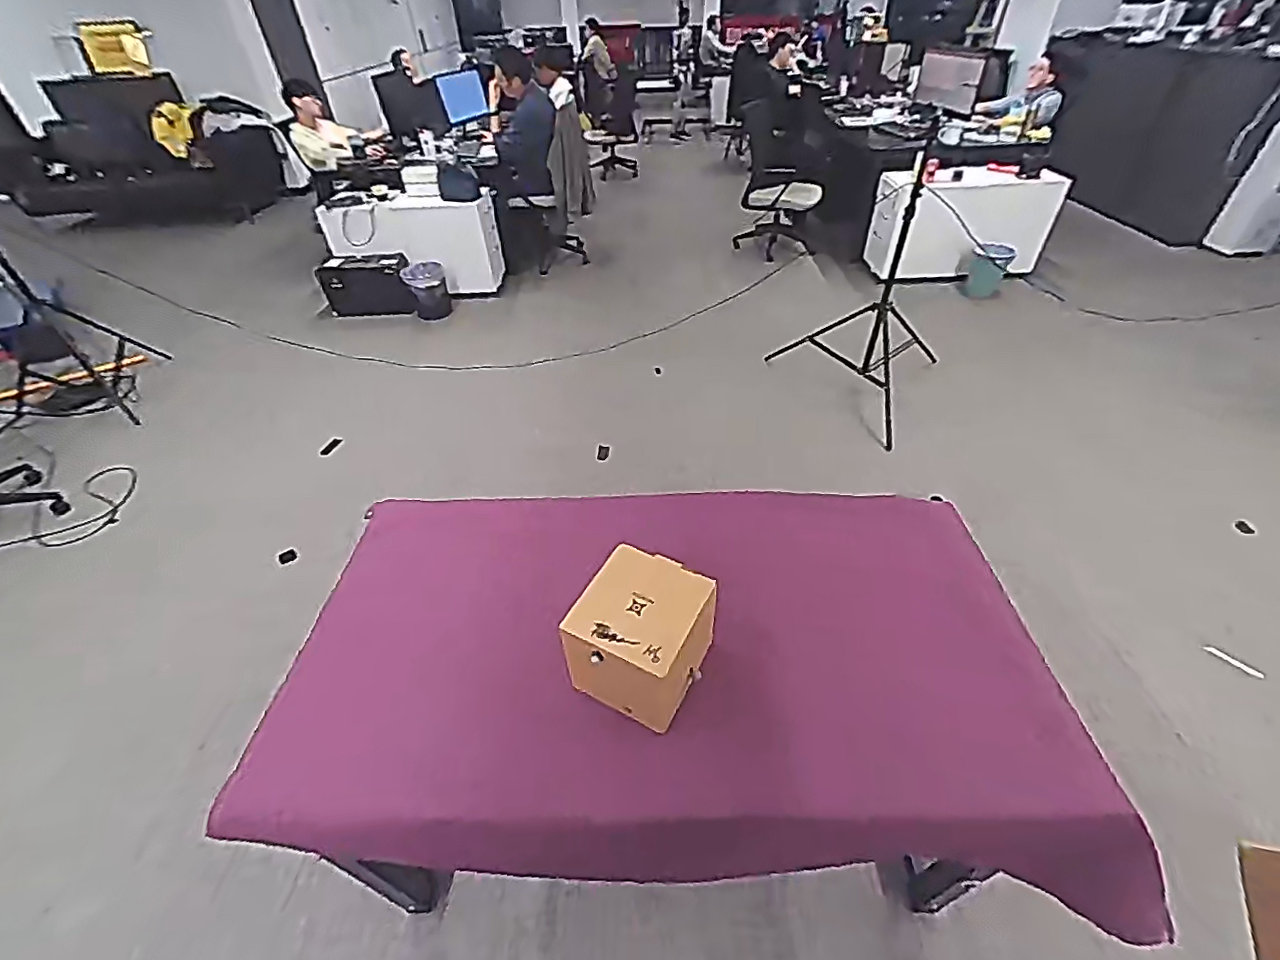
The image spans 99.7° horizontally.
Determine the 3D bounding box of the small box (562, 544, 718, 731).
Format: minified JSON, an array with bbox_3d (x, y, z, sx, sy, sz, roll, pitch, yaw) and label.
[{"bbox_3d":[0.004,0.234,0.814,0.168,0.176,0.179,19,45,23],"label":"small box"}]
